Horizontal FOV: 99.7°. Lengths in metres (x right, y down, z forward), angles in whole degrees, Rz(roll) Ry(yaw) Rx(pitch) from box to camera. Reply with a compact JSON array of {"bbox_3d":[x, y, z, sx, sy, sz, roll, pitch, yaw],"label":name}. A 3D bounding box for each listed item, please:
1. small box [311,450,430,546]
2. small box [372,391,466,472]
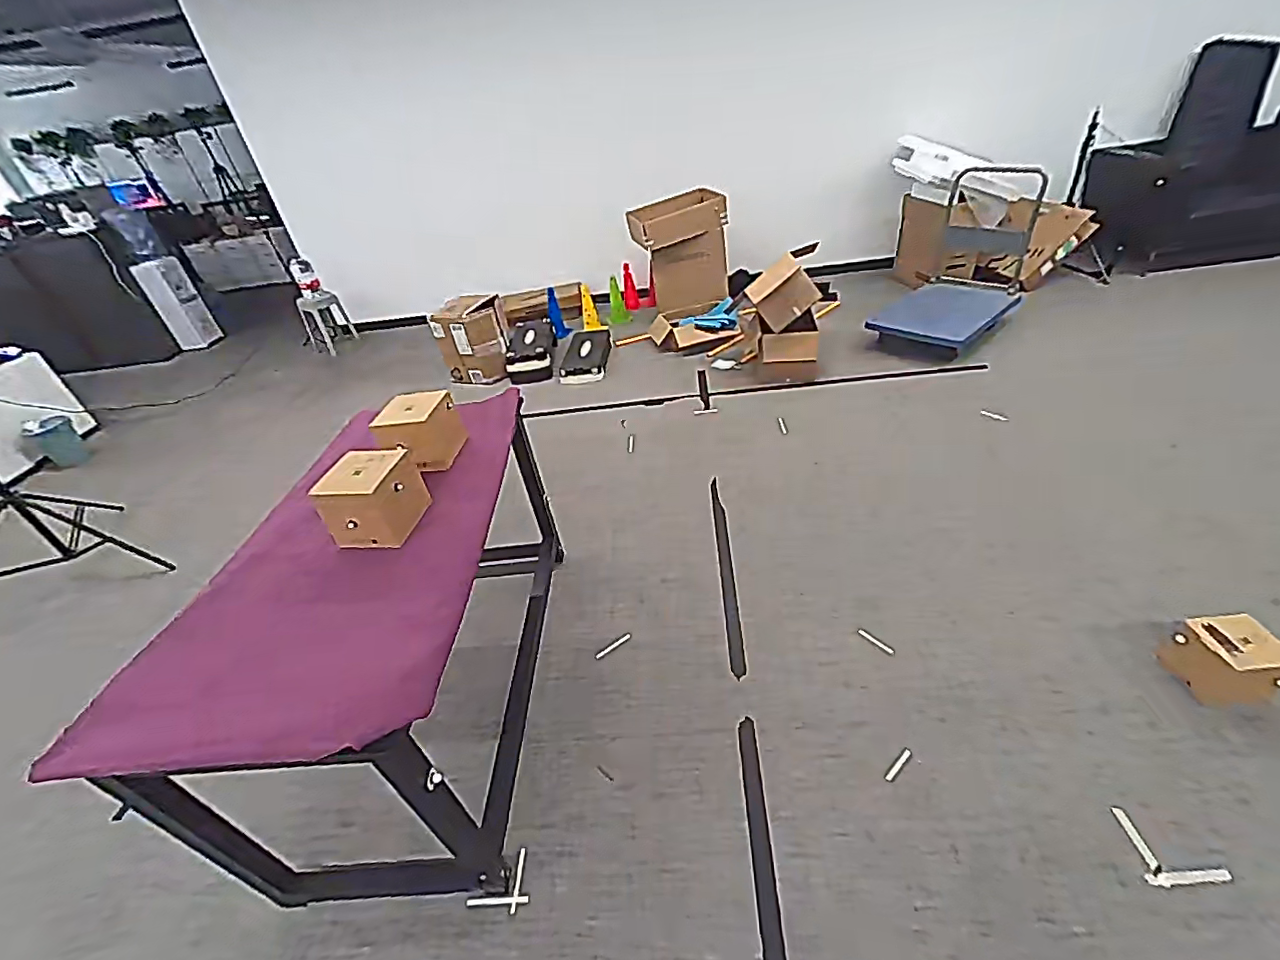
[{"bbox_3d":[-0.638,0.046,1.310,0.168,0.176,0.179,-1,36,11],"label":"small box"},{"bbox_3d":[-0.621,-0.132,1.550,0.168,0.176,0.179,-5,36,9],"label":"small box"}]
